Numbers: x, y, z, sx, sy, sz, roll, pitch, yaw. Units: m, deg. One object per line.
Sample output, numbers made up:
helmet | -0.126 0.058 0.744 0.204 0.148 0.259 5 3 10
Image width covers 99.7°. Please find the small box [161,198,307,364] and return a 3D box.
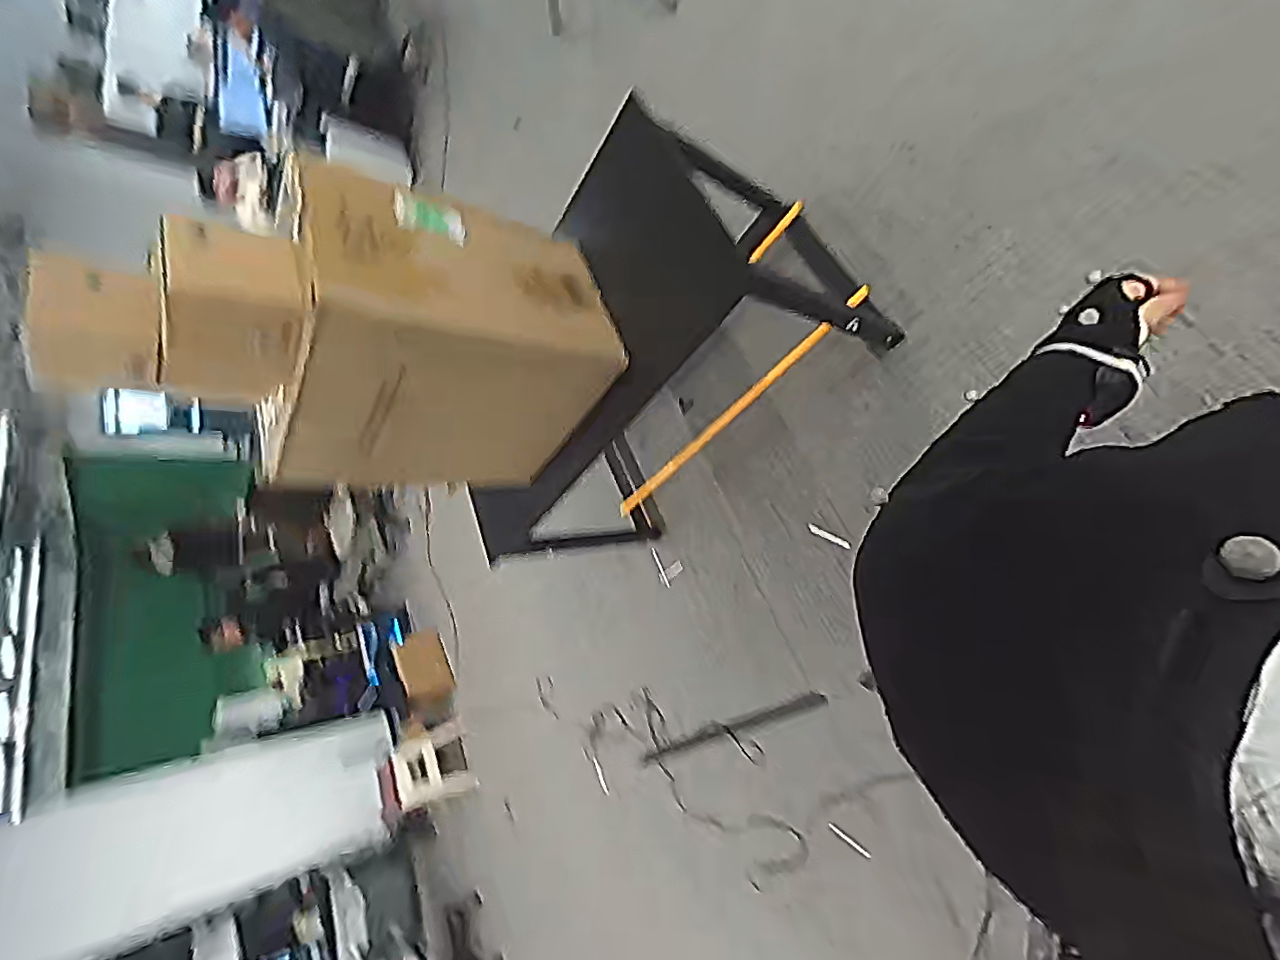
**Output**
small box | -0.655 -0.307 0.869 0.168 0.176 0.179 -47 59 39

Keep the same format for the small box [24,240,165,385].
small box | -0.985 -0.294 0.990 0.168 0.176 0.179 -41 61 40

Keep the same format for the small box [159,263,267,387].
small box | -0.872 -0.305 1.109 0.168 0.176 0.179 -42 61 38
